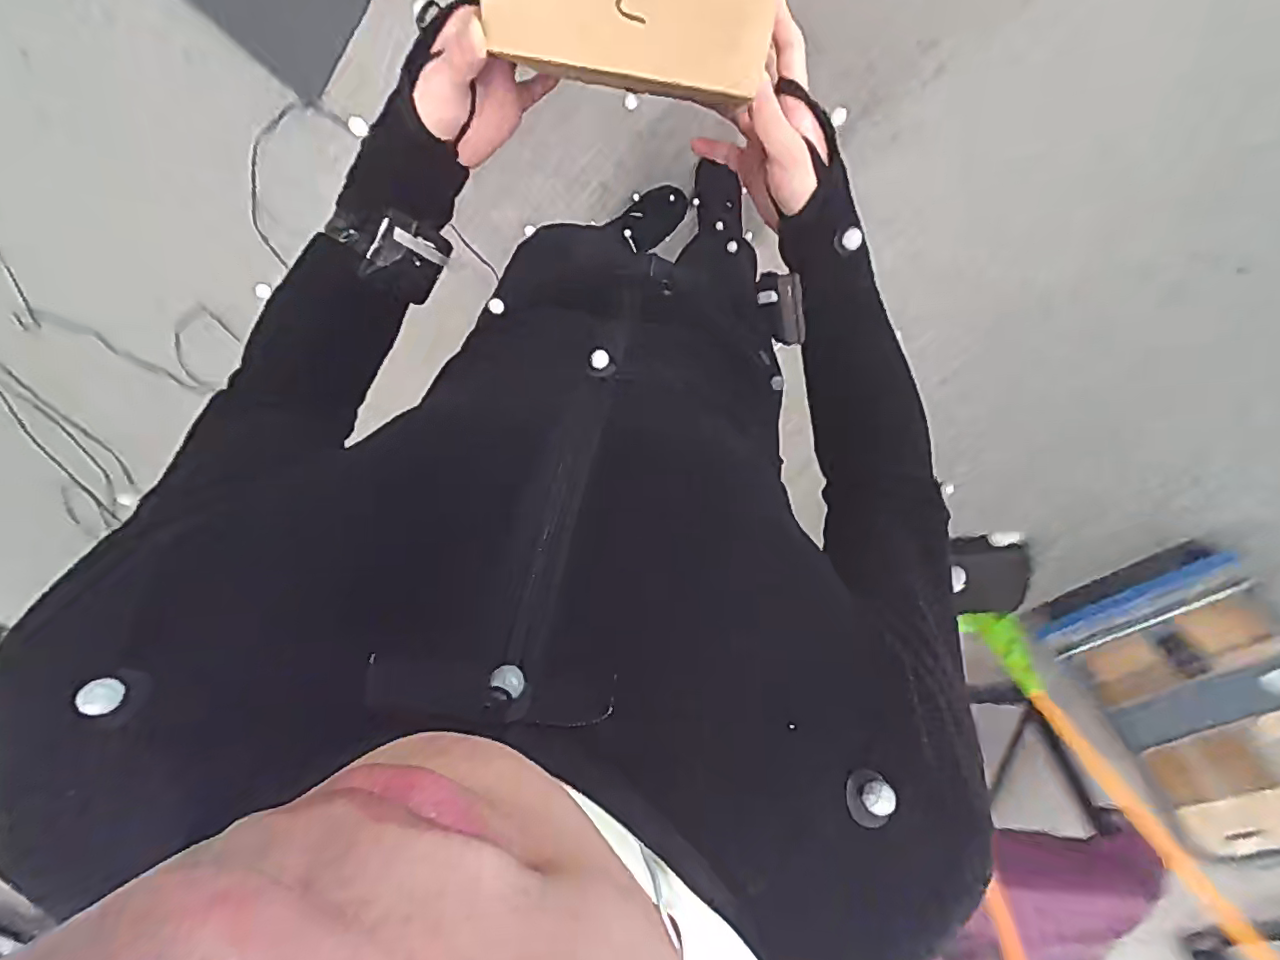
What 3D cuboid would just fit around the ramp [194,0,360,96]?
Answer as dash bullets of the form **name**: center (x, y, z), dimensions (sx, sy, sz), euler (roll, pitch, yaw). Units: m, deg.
- **ramp**: center (-0.981, -1.324, 0.970), dimensions (0.991, 0.206, 0.509), euler (41, 118, -19)
